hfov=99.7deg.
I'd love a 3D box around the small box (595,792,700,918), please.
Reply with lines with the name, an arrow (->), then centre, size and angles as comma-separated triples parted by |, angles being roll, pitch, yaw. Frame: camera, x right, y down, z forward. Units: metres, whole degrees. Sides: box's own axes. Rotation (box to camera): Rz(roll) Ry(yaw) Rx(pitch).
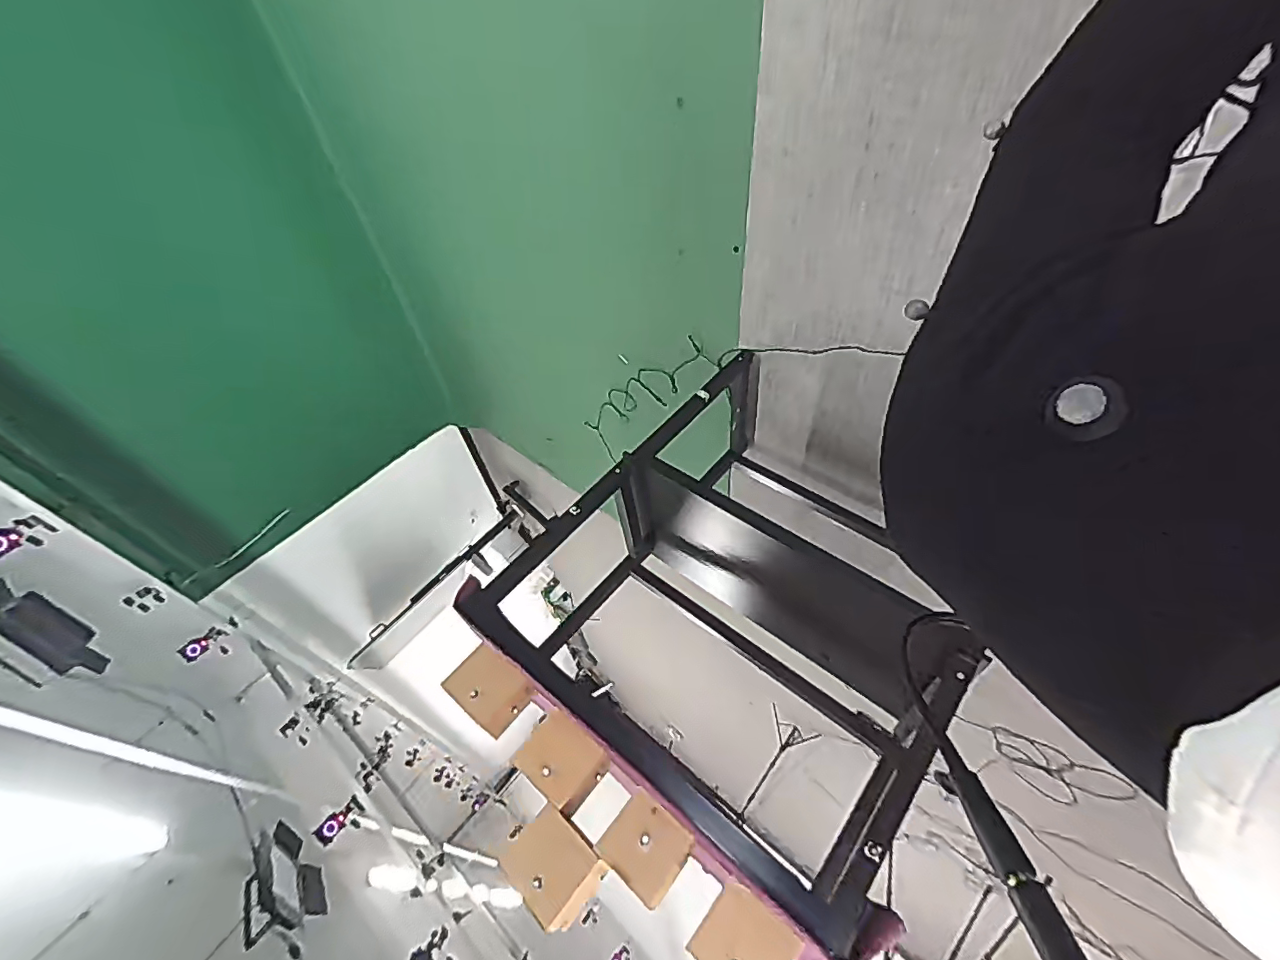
small box -> 0.024, 0.849, 1.233 | 0.168, 0.176, 0.179 | 31, 150, 29

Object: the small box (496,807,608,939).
small box -> -0.188, 0.891, 1.232 | 0.179, 0.176, 0.168 | 31, 151, 31

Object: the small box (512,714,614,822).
small box -> -0.189, 0.721, 1.367 | 0.179, 0.176, 0.168 | 30, 151, 27

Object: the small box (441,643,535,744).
small box -> -0.409, 0.588, 1.496 | 0.179, 0.176, 0.168 | 32, 149, 24
